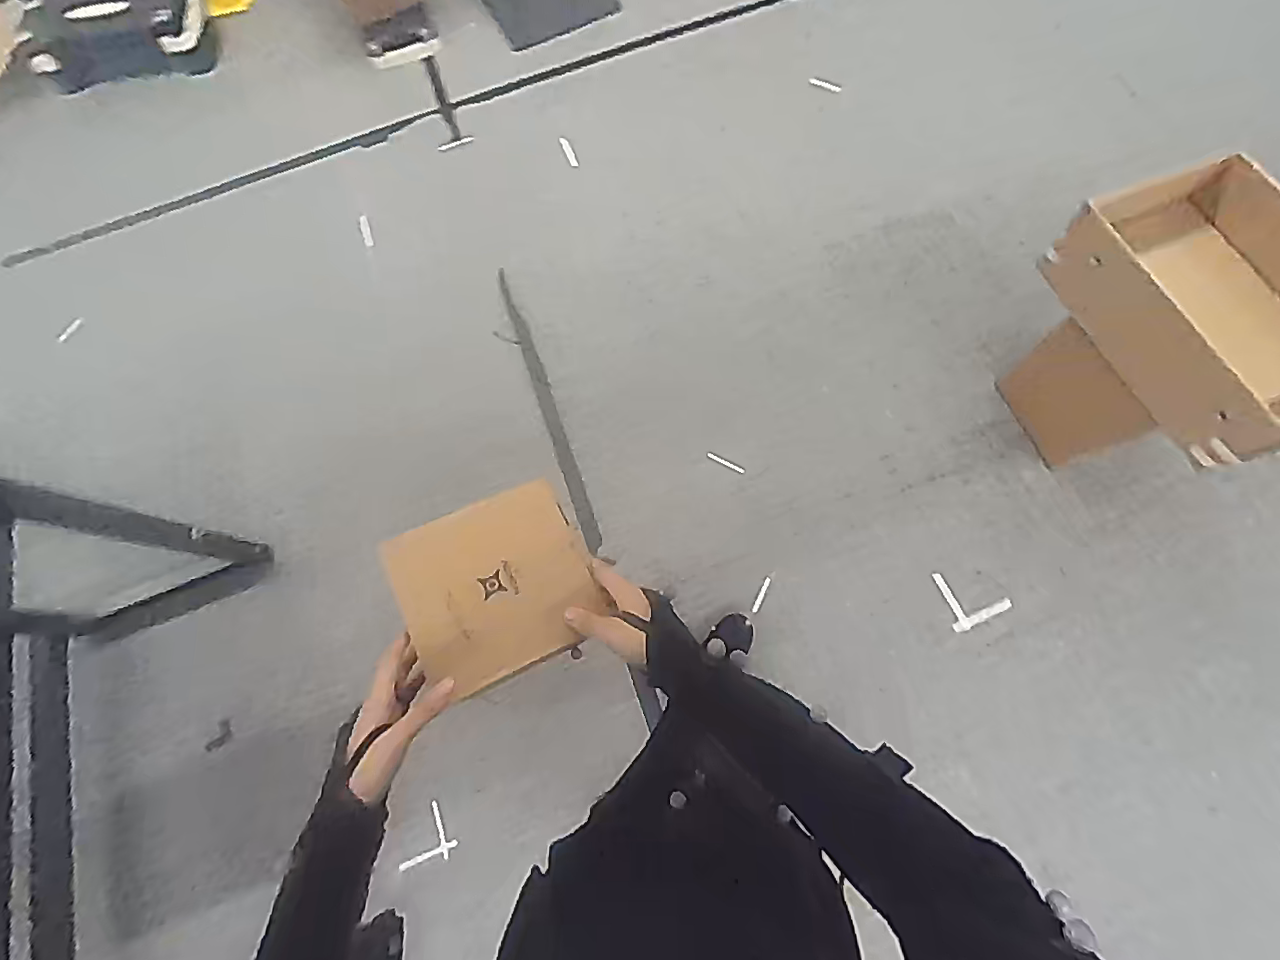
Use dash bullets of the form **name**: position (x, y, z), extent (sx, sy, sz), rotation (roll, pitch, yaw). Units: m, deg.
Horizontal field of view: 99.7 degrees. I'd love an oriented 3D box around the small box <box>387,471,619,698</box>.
- **small box**: position (-0.142, 0.115, 0.588), extent (0.179, 0.176, 0.168), rotation (-22, 75, -16)
